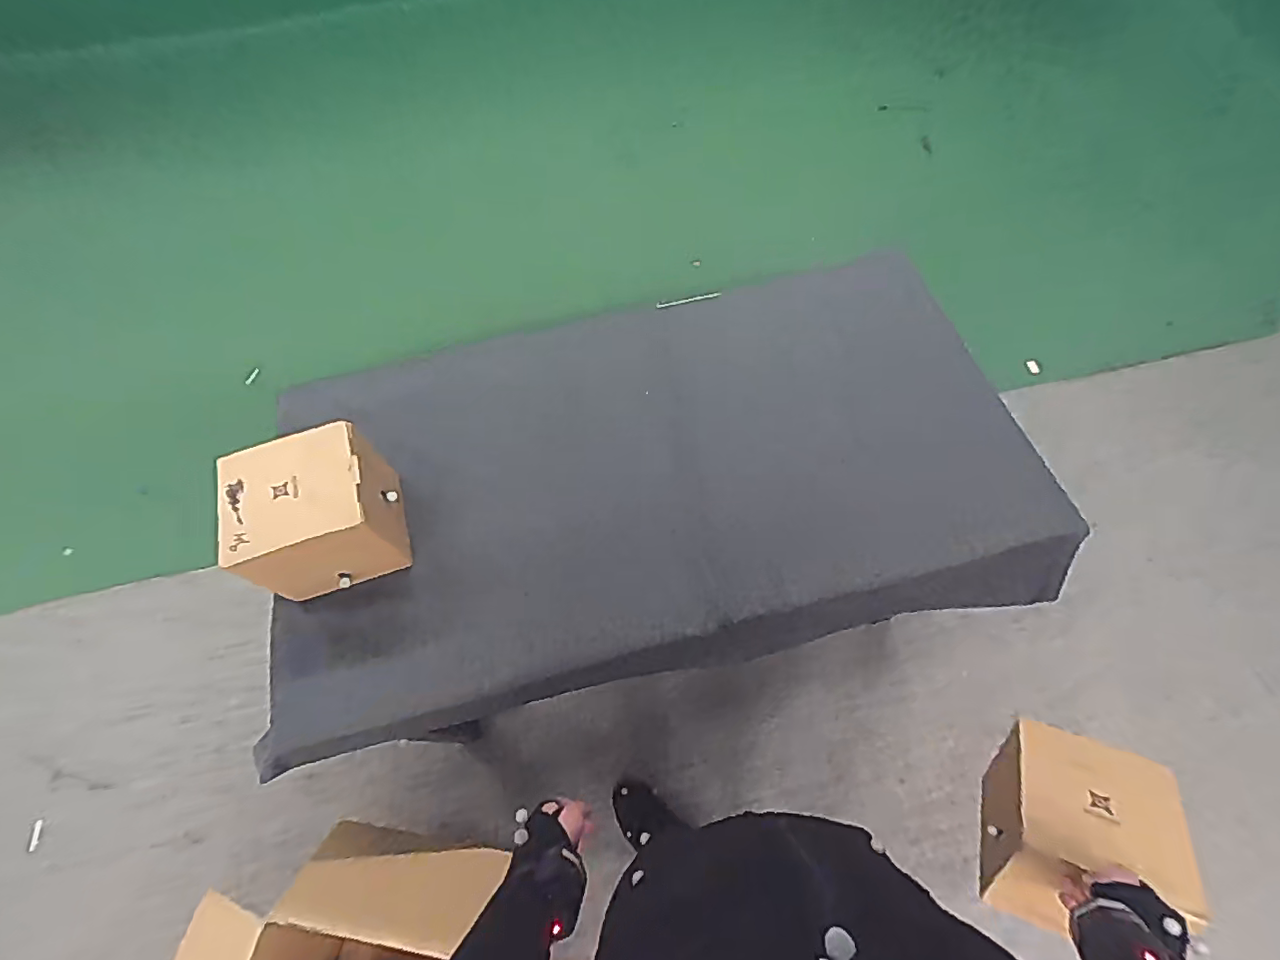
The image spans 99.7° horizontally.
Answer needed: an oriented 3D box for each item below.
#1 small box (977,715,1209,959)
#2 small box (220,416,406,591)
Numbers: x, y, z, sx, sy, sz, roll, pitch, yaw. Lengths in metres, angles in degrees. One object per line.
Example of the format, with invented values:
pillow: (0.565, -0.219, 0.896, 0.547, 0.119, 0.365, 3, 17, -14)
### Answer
small box: (0.543, 0.445, 0.678, 0.168, 0.176, 0.179, 16, 39, 24)
small box: (-0.450, 0.039, 0.769, 0.179, 0.176, 0.168, -18, 64, -9)
